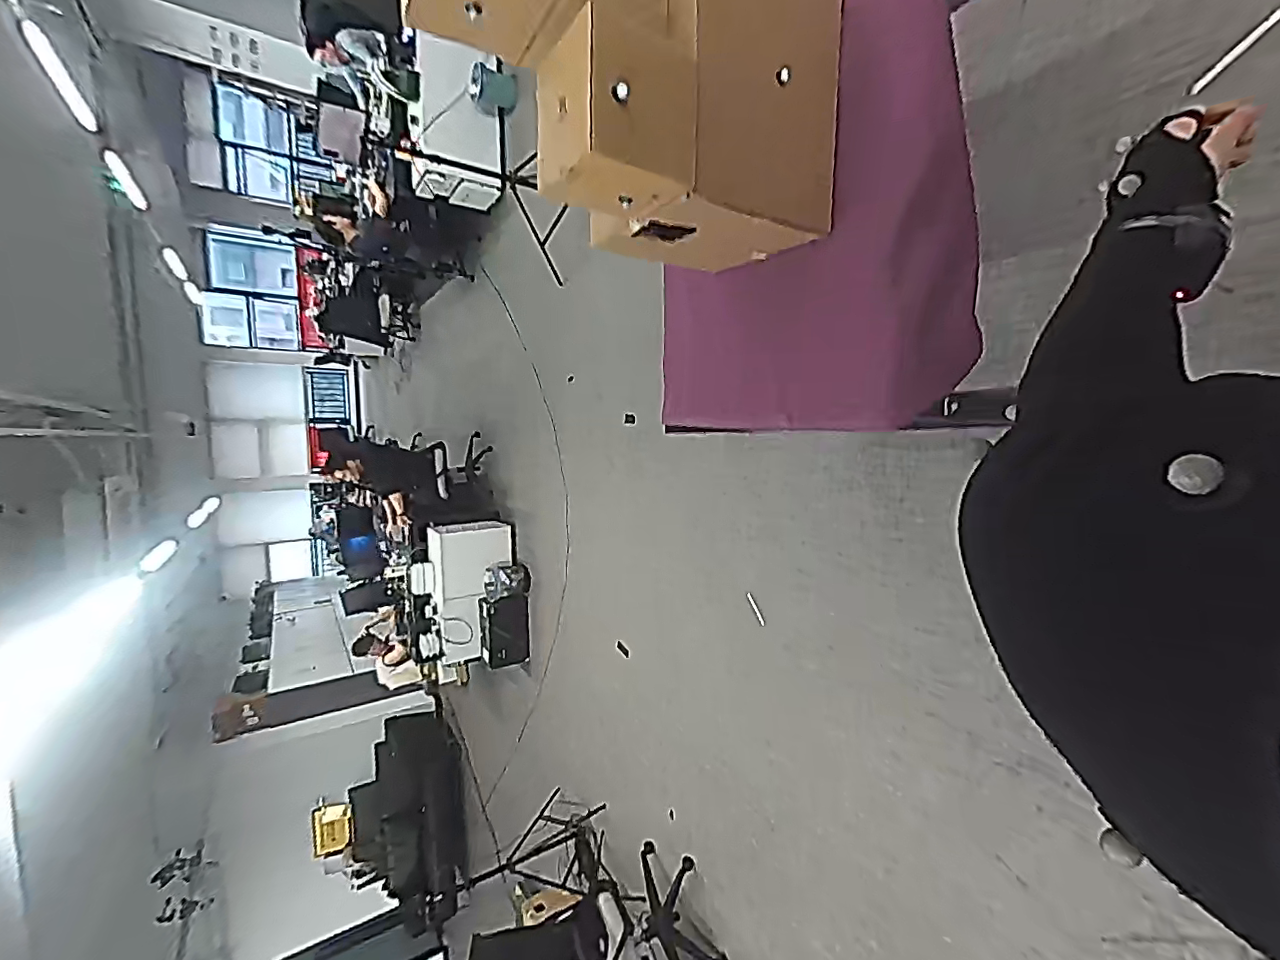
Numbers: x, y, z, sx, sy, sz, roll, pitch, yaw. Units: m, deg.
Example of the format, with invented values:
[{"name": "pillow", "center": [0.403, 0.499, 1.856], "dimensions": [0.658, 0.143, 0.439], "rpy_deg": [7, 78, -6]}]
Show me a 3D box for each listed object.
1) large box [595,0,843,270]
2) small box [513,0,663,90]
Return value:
[{"name": "large box", "center": [0.127, -0.623, 0.939], "dimensions": [0.320, 0.320, 0.408], "rpy_deg": [10, 103, 58]}, {"name": "small box", "center": [-0.080, -0.719, 0.794], "dimensions": [0.179, 0.176, 0.168], "rpy_deg": [10, 103, 57]}]
